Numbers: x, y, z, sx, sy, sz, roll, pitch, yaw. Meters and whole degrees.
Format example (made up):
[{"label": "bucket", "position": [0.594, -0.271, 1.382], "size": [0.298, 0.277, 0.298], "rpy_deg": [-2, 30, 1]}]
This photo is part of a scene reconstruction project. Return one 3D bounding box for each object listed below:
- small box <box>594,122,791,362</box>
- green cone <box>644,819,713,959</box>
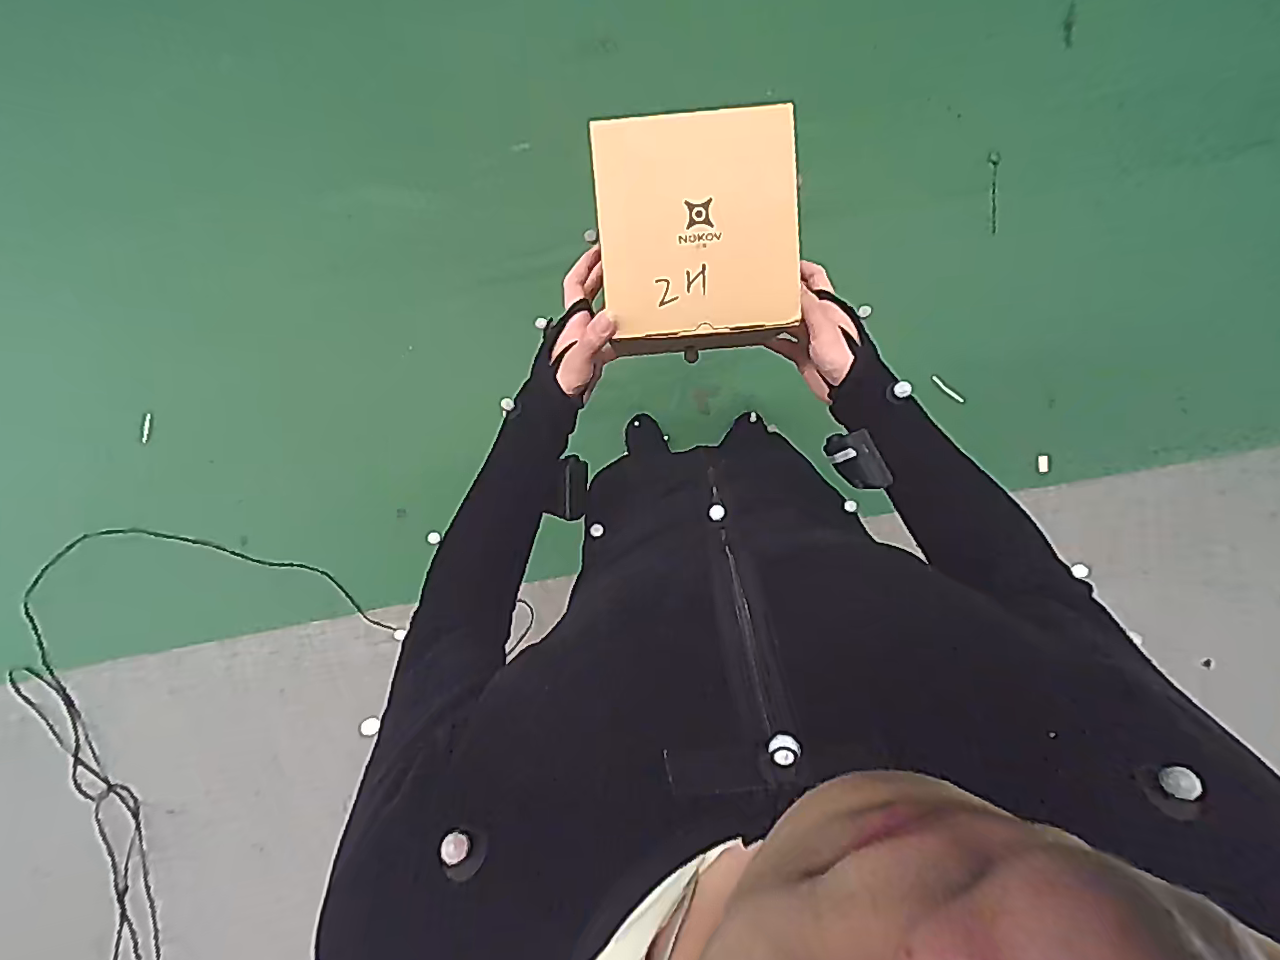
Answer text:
[{"label": "small box", "position": [0.045, -0.217, 0.538], "size": [0.168, 0.176, 0.179], "rpy_deg": [-4, 98, 0]}, {"label": "green cone", "position": [0.122, 1.208, 1.569], "size": [0.202, 0.368, 0.200], "rpy_deg": [-11, 95, 2]}]
